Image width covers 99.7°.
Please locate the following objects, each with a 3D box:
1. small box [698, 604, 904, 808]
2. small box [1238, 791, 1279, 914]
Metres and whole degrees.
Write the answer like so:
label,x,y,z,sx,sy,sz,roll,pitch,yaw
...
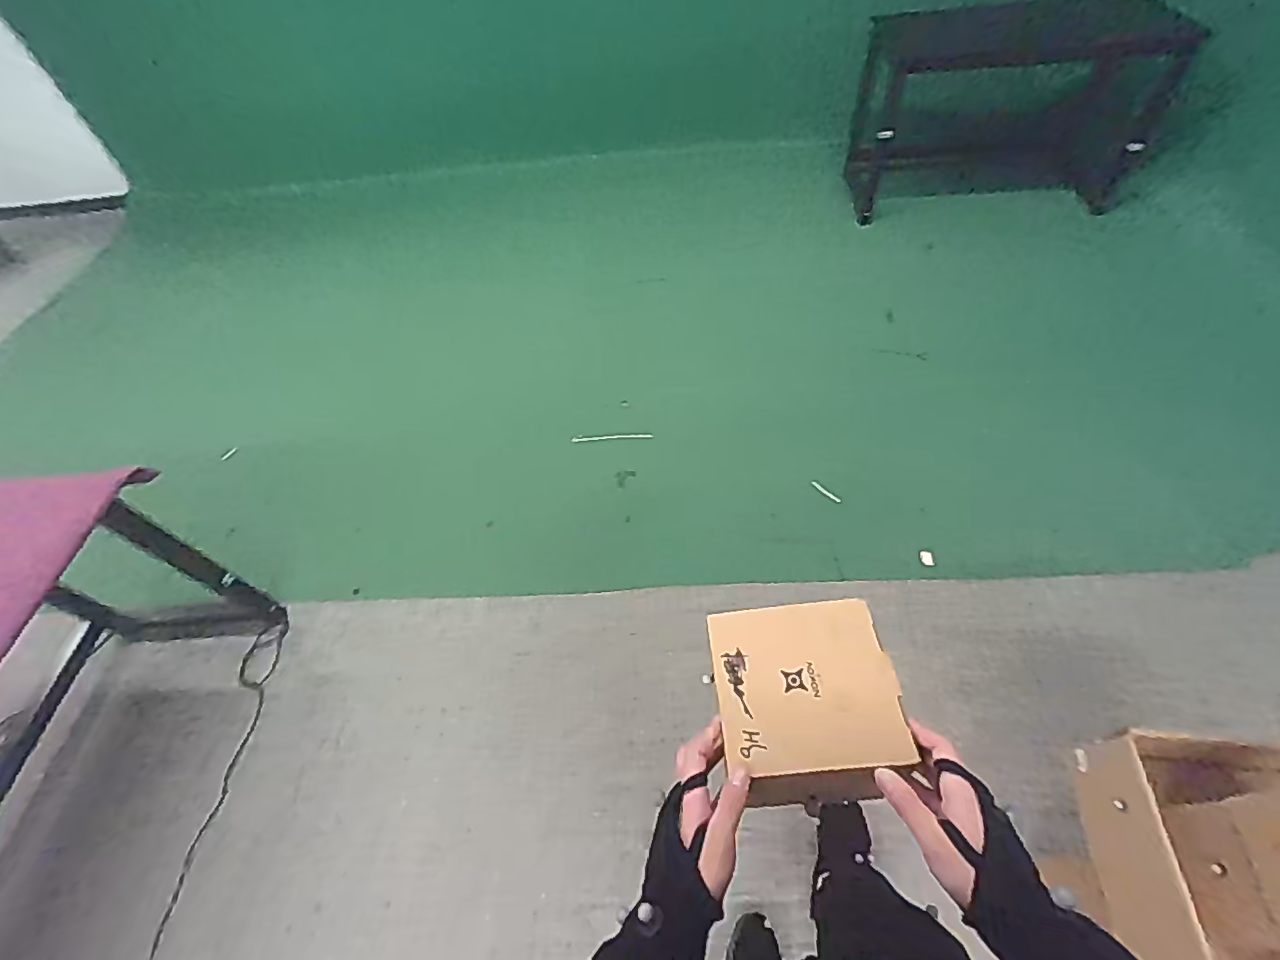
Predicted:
label,x,y,z,sx,sy,sz,roll,pitch,yaw
small box,0.163,0.258,0.608,0.179,0.176,0.168,-7,49,4
small box,0.942,0.500,0.684,0.168,0.176,0.179,3,56,10
